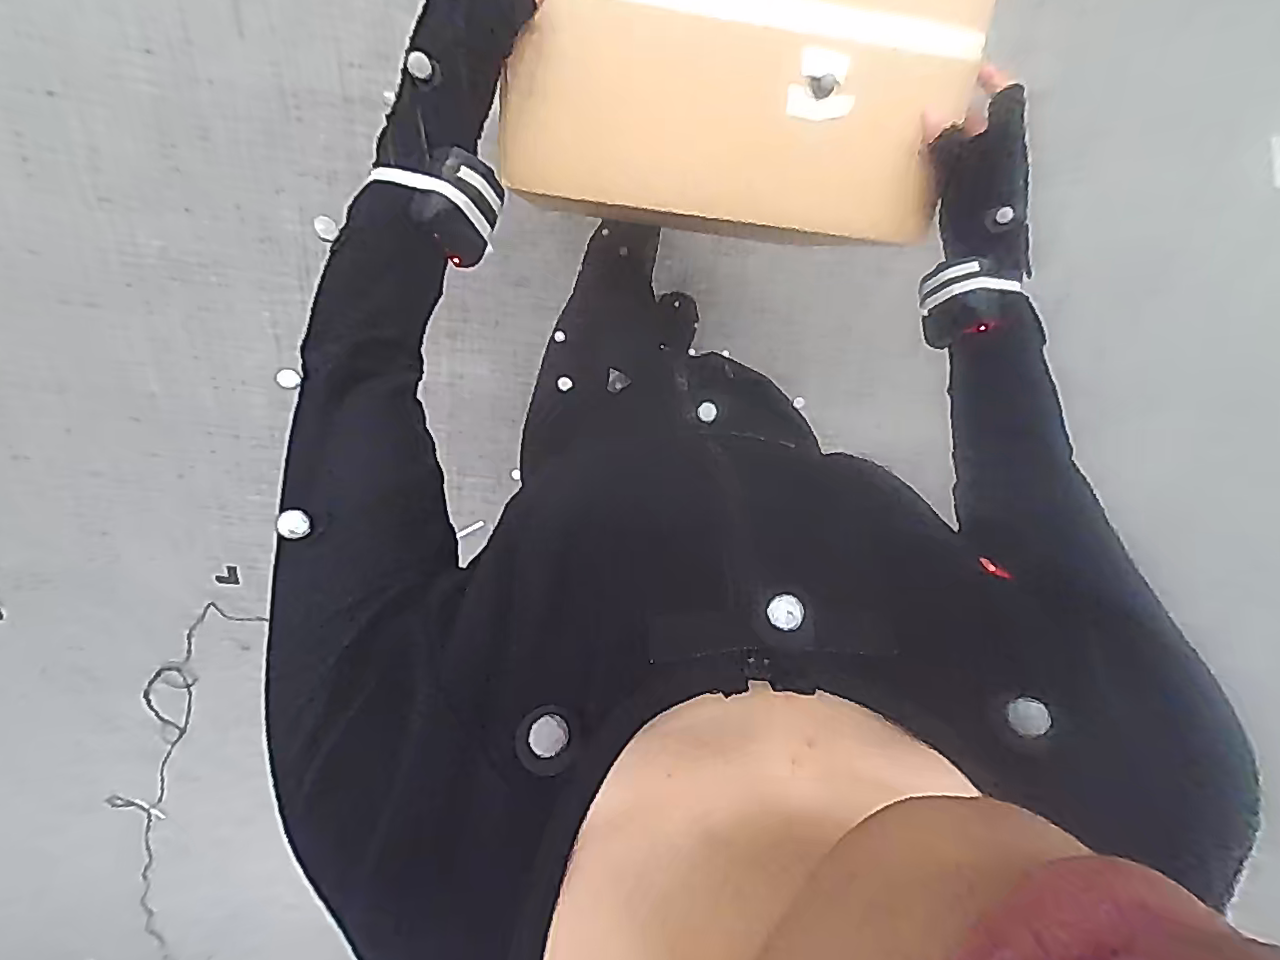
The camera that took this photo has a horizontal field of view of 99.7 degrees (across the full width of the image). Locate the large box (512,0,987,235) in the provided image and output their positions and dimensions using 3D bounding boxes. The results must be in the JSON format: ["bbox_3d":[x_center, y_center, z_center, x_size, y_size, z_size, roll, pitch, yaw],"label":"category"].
[{"bbox_3d":[0.080,-0.455,0.583,0.408,0.320,0.320,4,114,-8],"label":"large box"}]
